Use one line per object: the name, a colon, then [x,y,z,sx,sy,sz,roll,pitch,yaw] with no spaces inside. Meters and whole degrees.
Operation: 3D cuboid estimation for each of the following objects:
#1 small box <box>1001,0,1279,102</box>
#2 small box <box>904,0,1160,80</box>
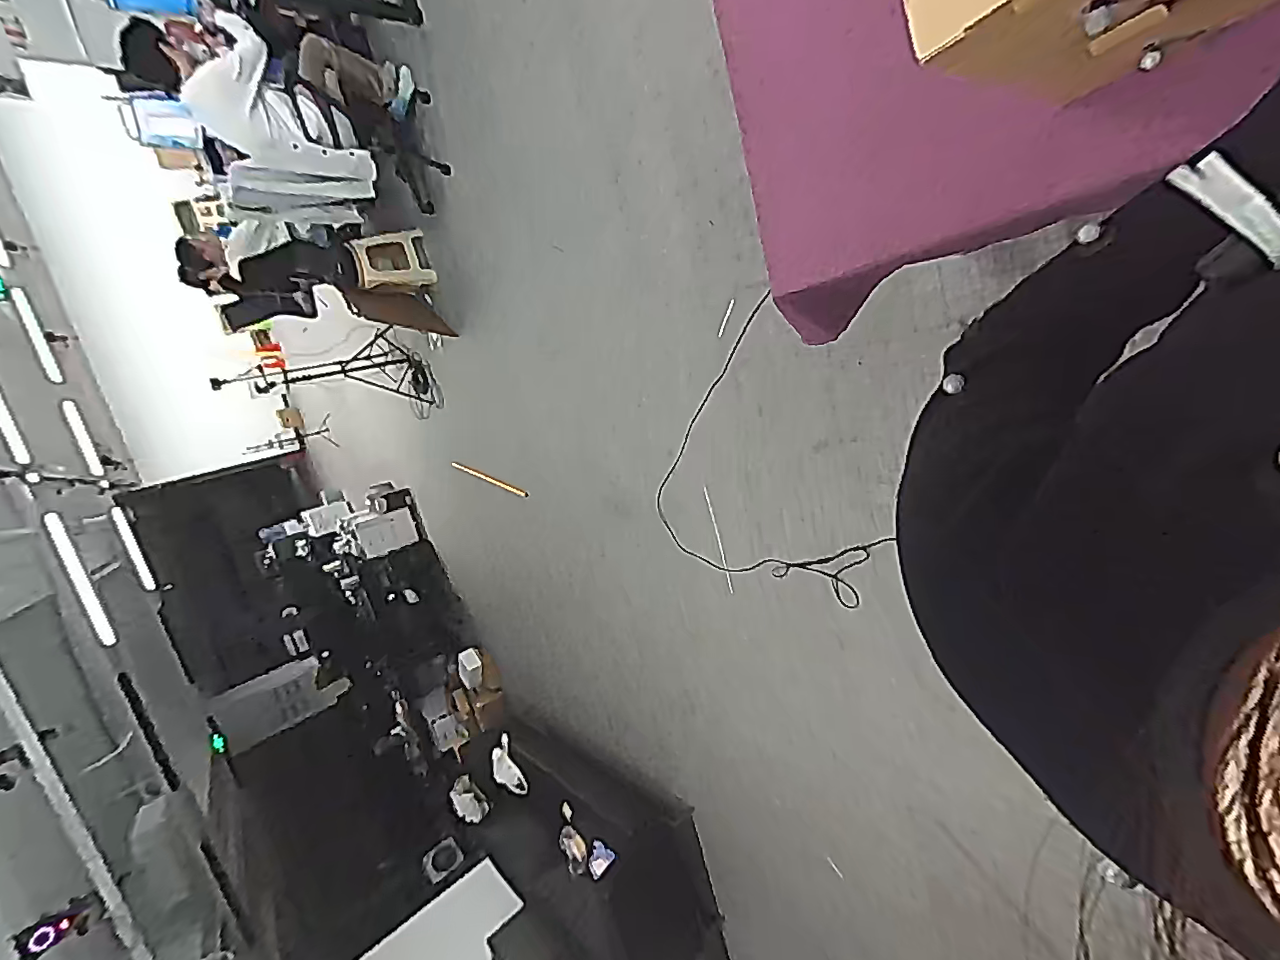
small box: [0.409,-0.454,0.448,0.168,0.176,0.179,-4,104,53]
small box: [0.284,-0.401,0.355,0.168,0.176,0.179,-6,104,53]
